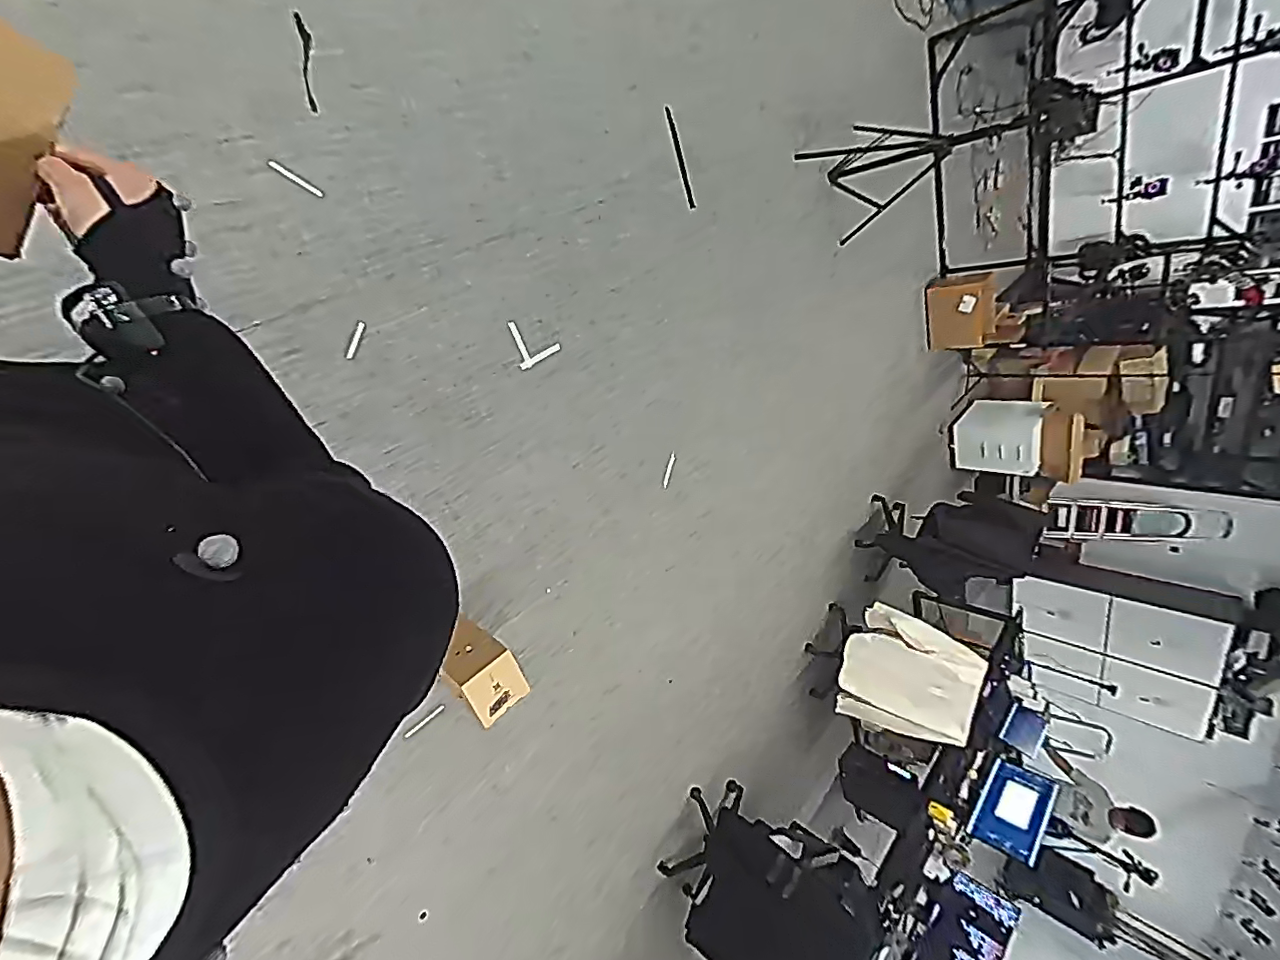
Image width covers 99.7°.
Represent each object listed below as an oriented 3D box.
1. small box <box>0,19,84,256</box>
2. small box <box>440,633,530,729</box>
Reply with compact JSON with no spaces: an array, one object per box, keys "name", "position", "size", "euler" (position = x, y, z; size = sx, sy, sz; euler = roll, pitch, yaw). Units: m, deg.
[{"name":"small box","position":[-0.579,-0.289,0.385],"size":[0.179,0.176,0.168],"euler":[19,89,-74]},{"name":"small box","position":[-0.464,0.591,1.613],"size":[0.168,0.176,0.179],"euler":[-36,120,-33]}]
